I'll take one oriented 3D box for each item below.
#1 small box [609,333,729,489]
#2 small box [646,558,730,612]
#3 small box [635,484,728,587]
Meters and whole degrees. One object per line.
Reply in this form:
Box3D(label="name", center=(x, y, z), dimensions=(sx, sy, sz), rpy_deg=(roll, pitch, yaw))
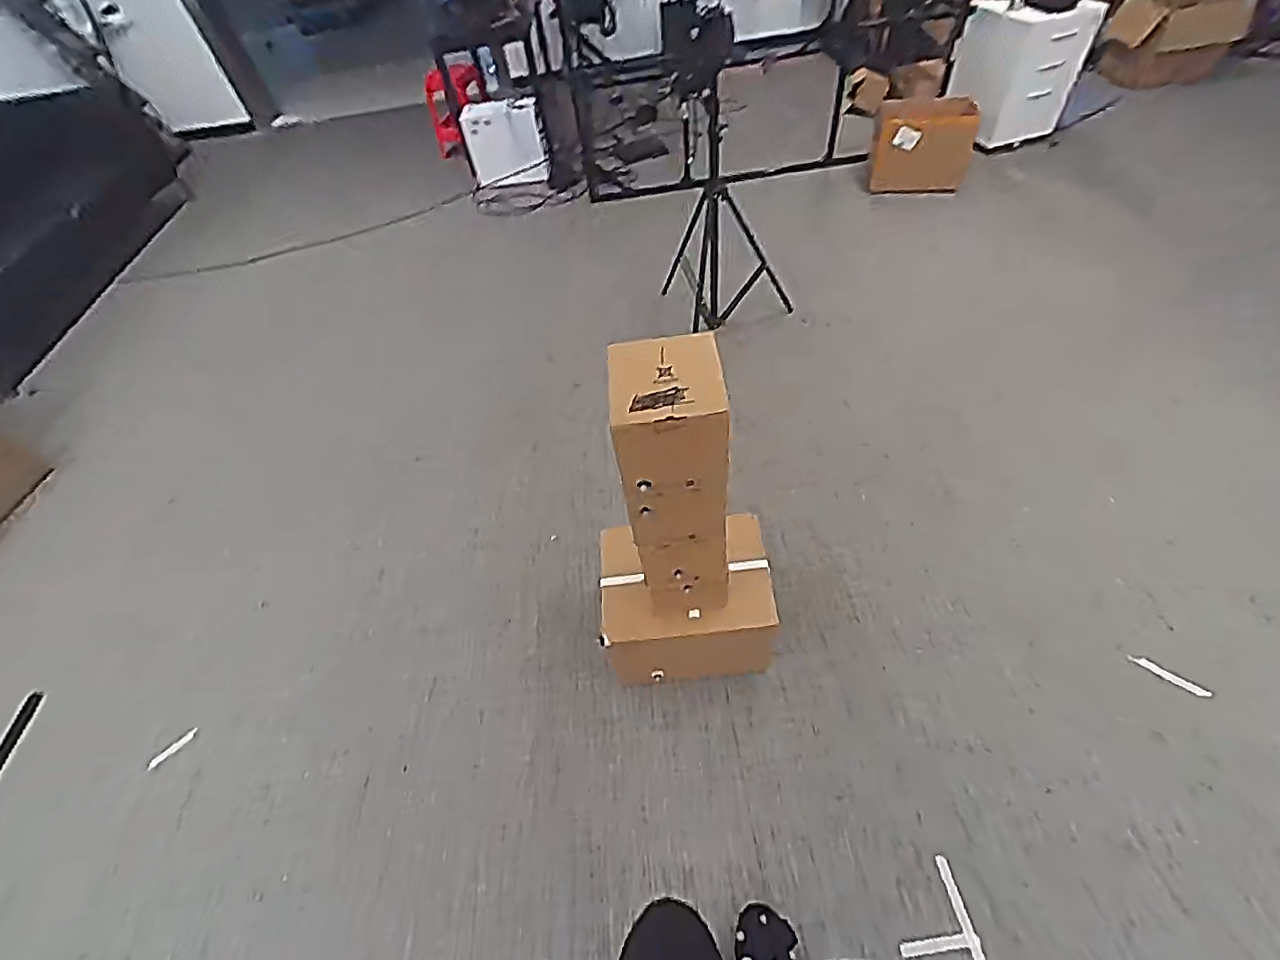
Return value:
Box3D(label="small box", center=(0.046, -0.099, 0.840), dimensions=(0.168, 0.176, 0.179), rpy_deg=(-6, 52, 3))
Box3D(label="small box", center=(0.103, 0.188, 1.234), dimensions=(0.179, 0.176, 0.168), rpy_deg=(-8, 53, 0))
Box3D(label="small box", center=(0.082, 0.097, 1.102), dimensions=(0.168, 0.176, 0.179), rpy_deg=(-8, 53, 2))
